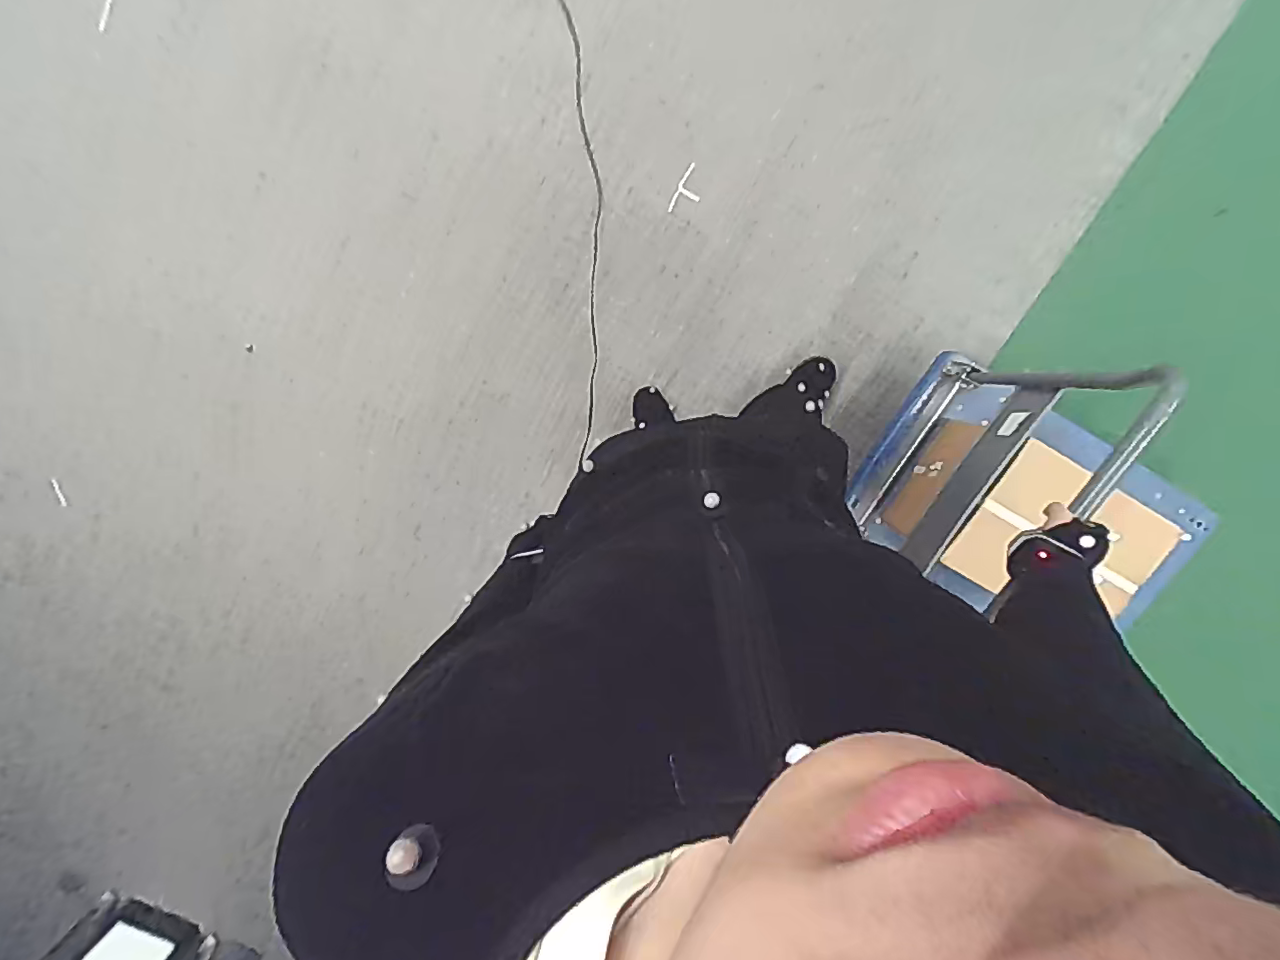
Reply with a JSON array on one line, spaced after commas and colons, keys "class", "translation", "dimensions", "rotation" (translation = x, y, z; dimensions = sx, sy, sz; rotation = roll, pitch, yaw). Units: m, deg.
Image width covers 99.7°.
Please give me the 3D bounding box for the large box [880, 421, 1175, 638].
[{"class": "large box", "translation": [0.876, 0.096, 1.287], "dimensions": [0.408, 0.320, 0.320], "rotation": [29, 102, -5]}]
